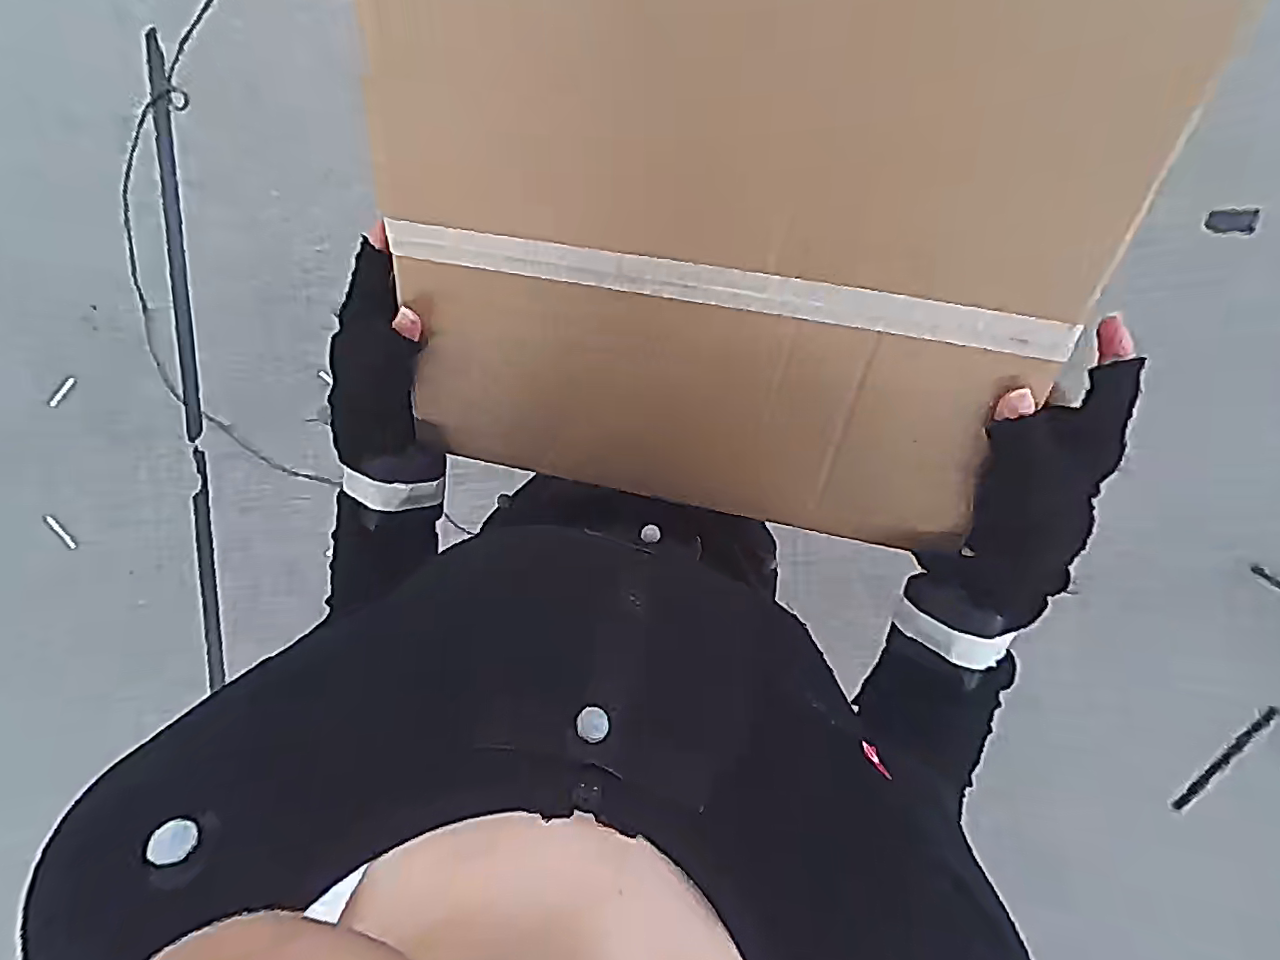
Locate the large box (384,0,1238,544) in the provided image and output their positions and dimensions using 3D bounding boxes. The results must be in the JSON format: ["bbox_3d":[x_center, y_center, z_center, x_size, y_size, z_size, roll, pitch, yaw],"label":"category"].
[{"bbox_3d":[0.073,-0.193,0.452,0.408,0.320,0.320,12,124,7],"label":"large box"}]
